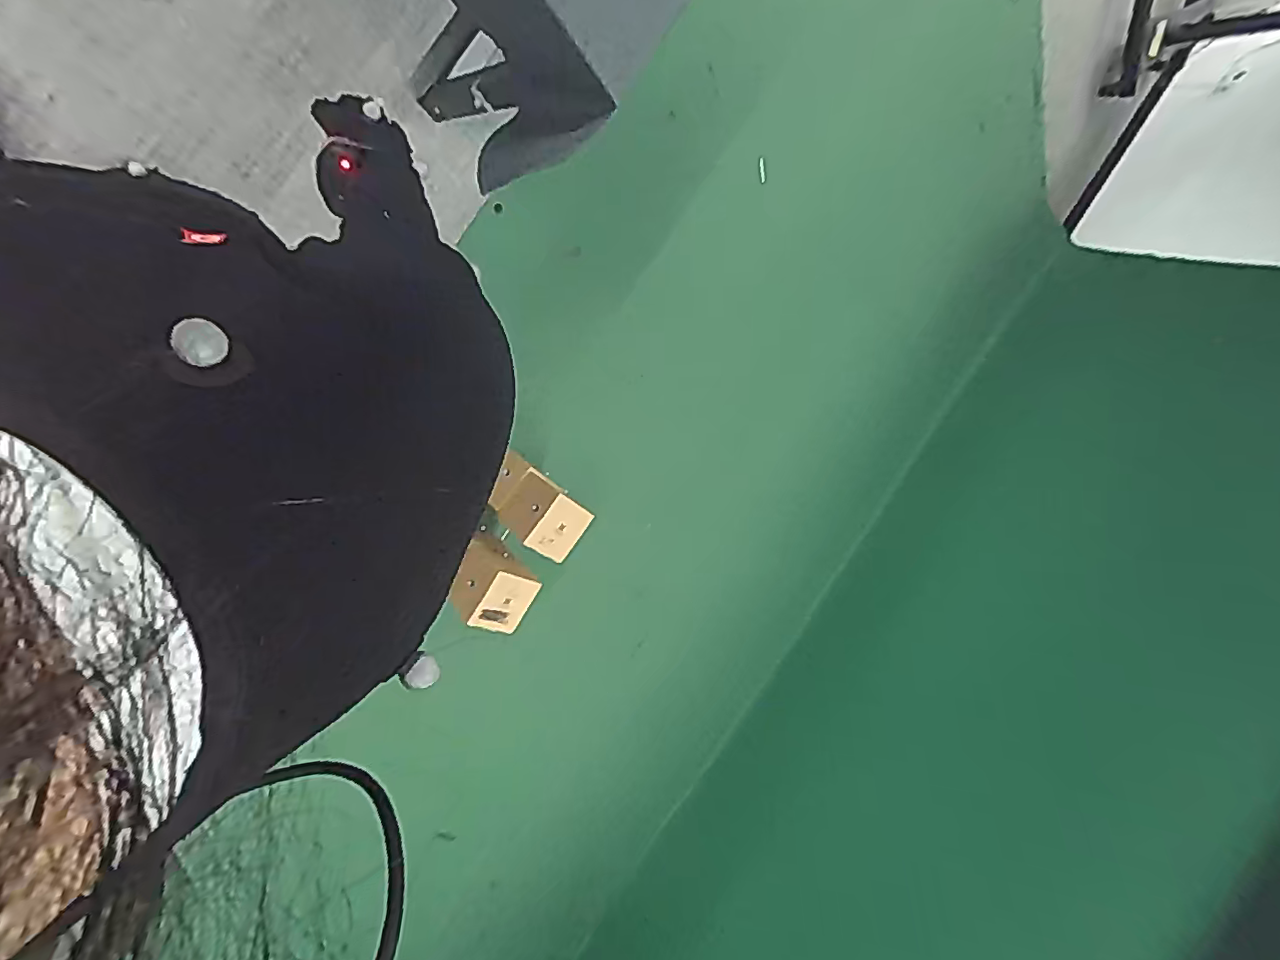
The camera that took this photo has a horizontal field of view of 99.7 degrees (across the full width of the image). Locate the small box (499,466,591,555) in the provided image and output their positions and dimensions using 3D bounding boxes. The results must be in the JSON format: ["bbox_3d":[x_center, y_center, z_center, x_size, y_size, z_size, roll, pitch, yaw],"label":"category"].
[{"bbox_3d":[-0.285,0.085,1.594,0.179,0.176,0.168,-53,137,-4],"label":"small box"}]

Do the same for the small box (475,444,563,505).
[{"bbox_3d":[-0.386,0.007,1.699,0.168,0.176,0.179,-52,137,-5],"label":"small box"}]
